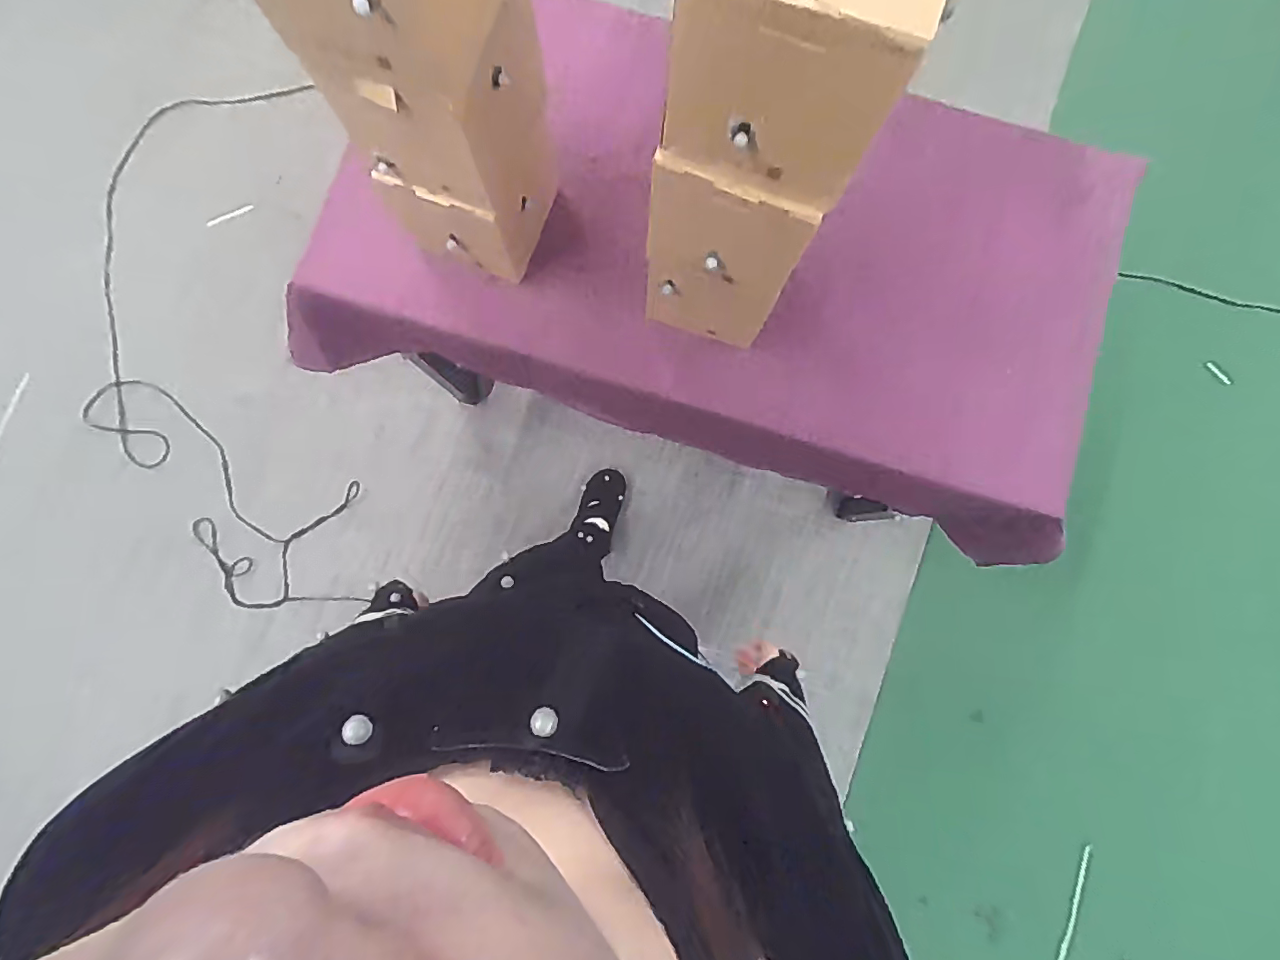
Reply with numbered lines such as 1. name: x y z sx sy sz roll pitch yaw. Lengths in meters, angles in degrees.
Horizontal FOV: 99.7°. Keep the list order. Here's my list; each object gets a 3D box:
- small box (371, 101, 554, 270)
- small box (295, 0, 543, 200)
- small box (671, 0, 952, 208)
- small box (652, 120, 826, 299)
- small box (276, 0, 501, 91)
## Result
1. small box: -0.227 -0.423 0.745 0.168 0.176 0.179 20 84 -1
2. small box: -0.214 -0.445 0.582 0.168 0.176 0.179 21 83 0
3. small box: 0.130 -0.360 0.424 0.168 0.176 0.179 20 84 0
4. small box: 0.117 -0.333 0.585 0.168 0.176 0.179 22 84 0
5. small box: -0.208 -0.458 0.420 0.168 0.176 0.179 19 83 -1
